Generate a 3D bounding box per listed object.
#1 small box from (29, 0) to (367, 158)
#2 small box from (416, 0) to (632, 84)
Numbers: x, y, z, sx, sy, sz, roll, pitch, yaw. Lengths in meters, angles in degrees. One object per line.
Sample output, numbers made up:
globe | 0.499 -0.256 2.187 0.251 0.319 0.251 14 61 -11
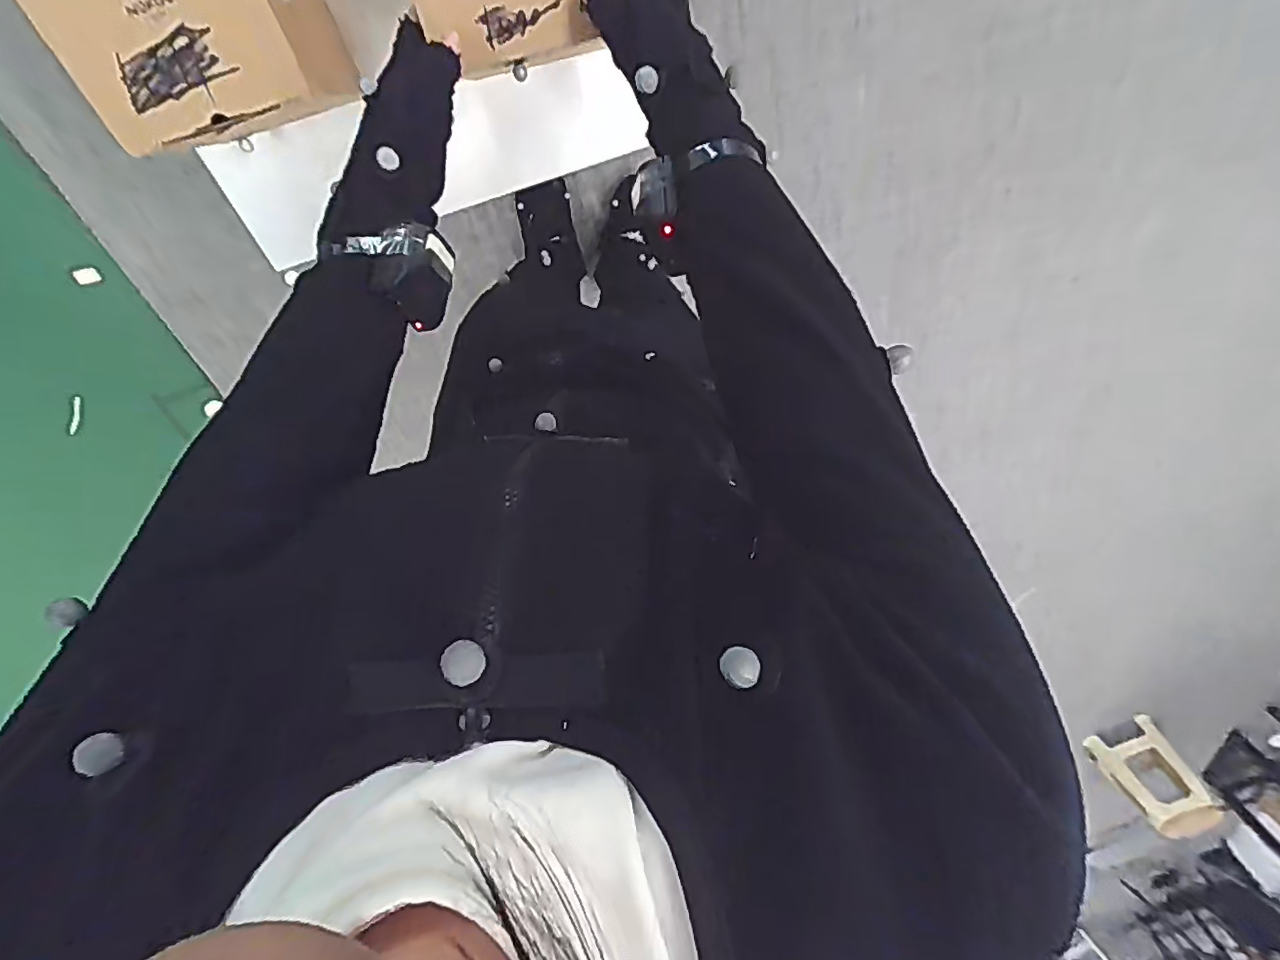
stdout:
small box | -0.370 -0.403 0.462 0.168 0.176 0.179 -16 125 2
small box | -0.109 -0.461 0.460 0.168 0.176 0.179 -12 125 2
